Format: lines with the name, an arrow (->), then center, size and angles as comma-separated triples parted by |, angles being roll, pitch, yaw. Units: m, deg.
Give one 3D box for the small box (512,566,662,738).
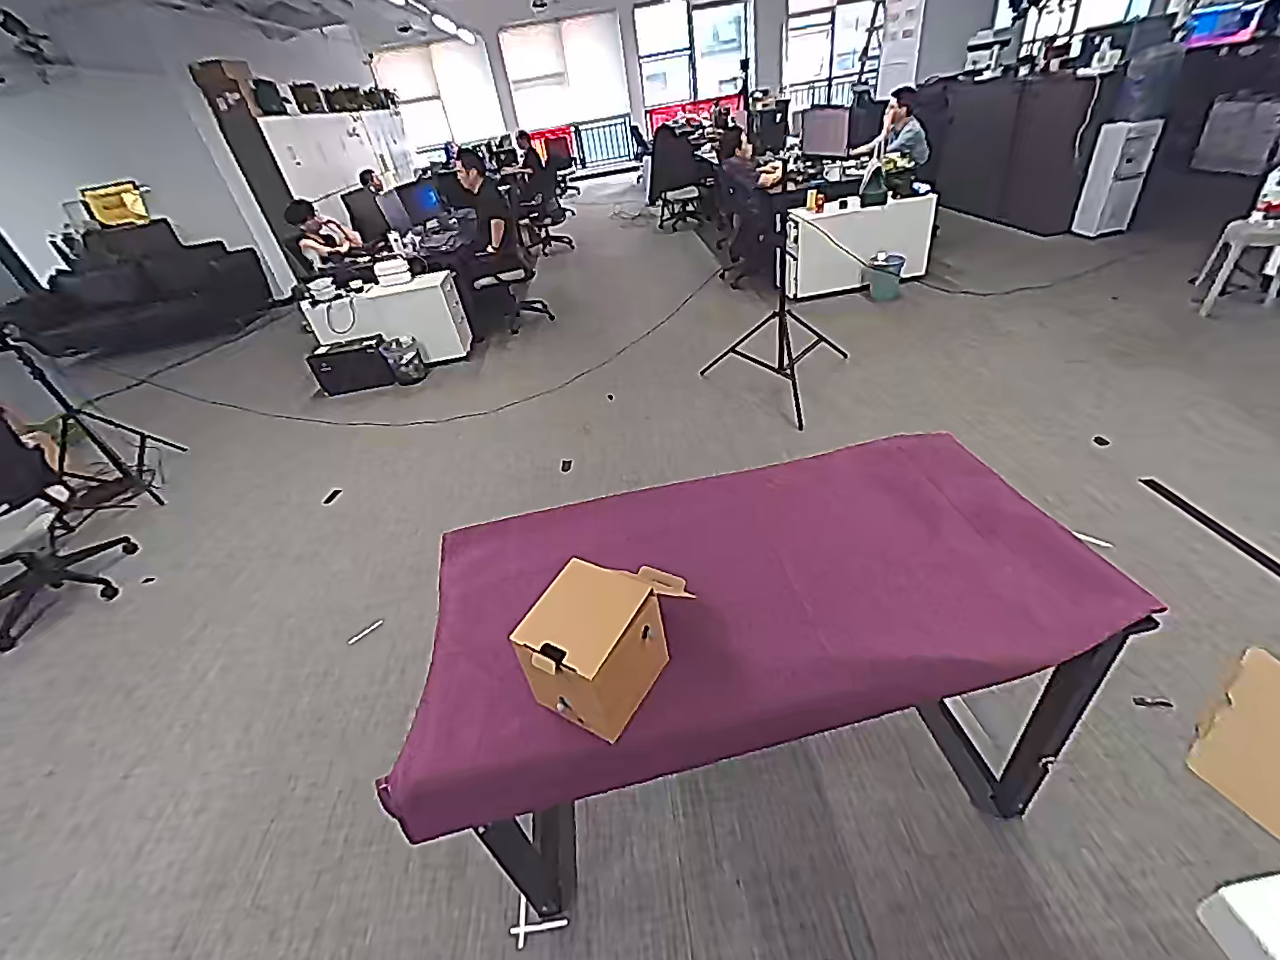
small box -> -0.076, 0.277, 0.888 | 0.168, 0.176, 0.179 | 13, 41, 32
